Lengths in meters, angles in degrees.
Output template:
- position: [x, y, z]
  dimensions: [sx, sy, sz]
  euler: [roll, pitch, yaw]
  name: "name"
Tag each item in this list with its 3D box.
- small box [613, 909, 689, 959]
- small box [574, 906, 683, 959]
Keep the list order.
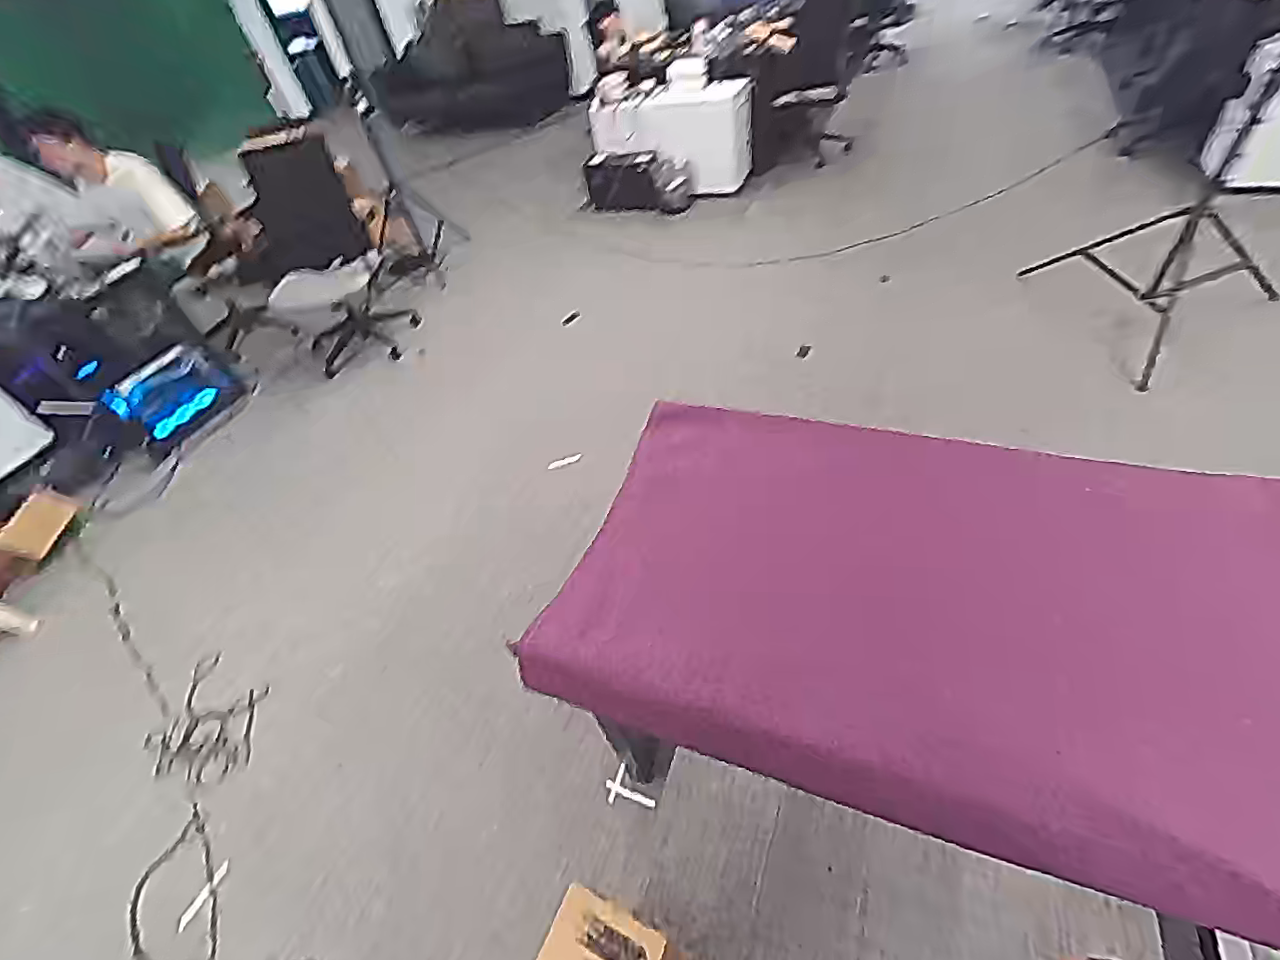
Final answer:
- position: [-0.008, 0.986, 1.049]
  dimensions: [0.168, 0.176, 0.179]
  euler: [16, 52, 25]
  name: "small box"
- position: [-0.028, 0.878, 0.926]
  dimensions: [0.168, 0.176, 0.179]
  euler: [12, 51, 22]
  name: "small box"
